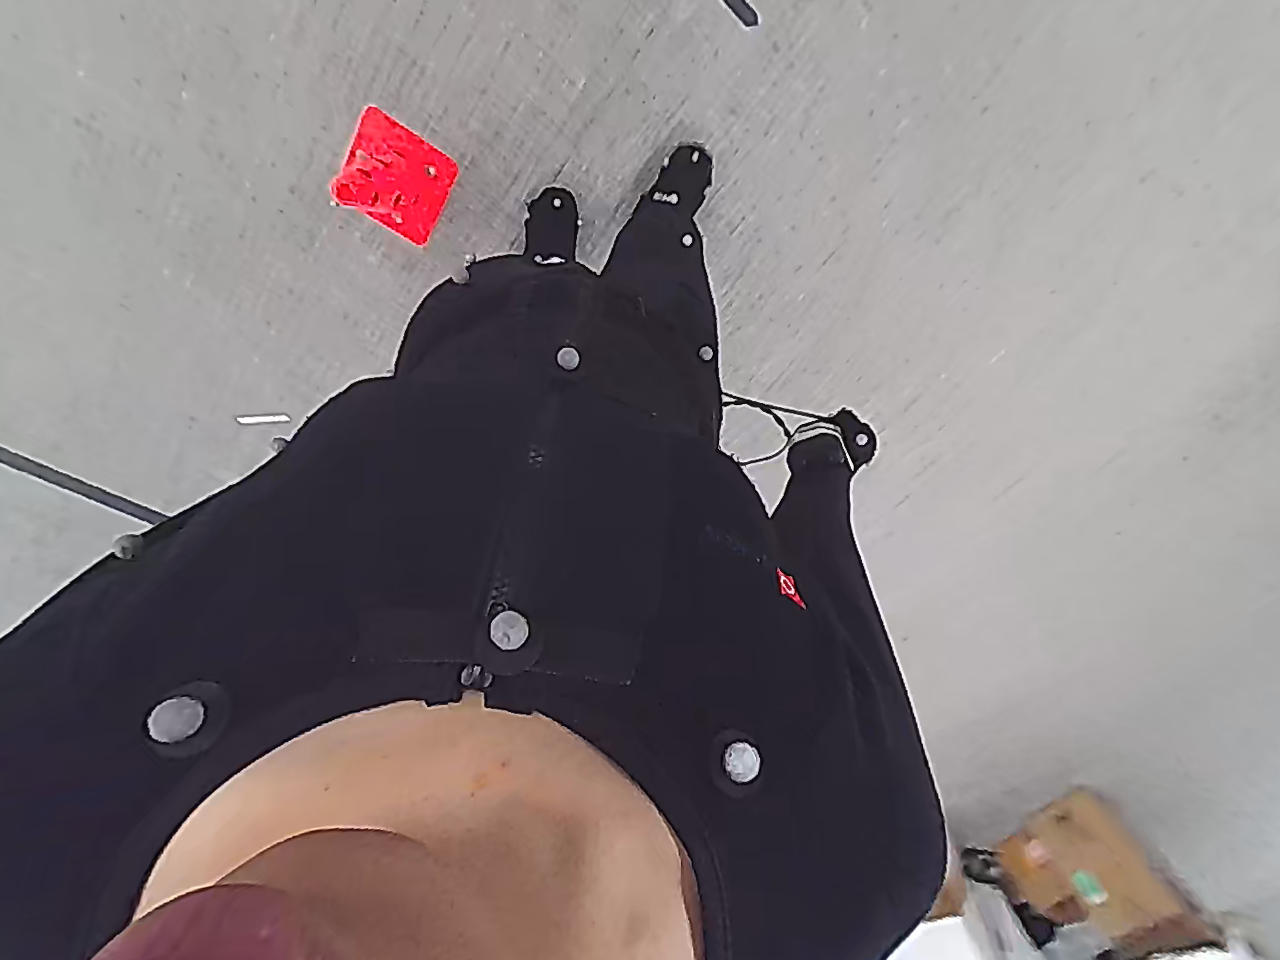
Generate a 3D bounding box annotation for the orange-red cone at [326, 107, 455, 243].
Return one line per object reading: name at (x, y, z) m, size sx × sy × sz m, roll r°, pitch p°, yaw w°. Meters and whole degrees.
orange-red cone at (-0.496, -0.547, 0.992) m, size 0.199 × 0.360 × 0.198 m, roll 29°, pitch 112°, yaw -22°
